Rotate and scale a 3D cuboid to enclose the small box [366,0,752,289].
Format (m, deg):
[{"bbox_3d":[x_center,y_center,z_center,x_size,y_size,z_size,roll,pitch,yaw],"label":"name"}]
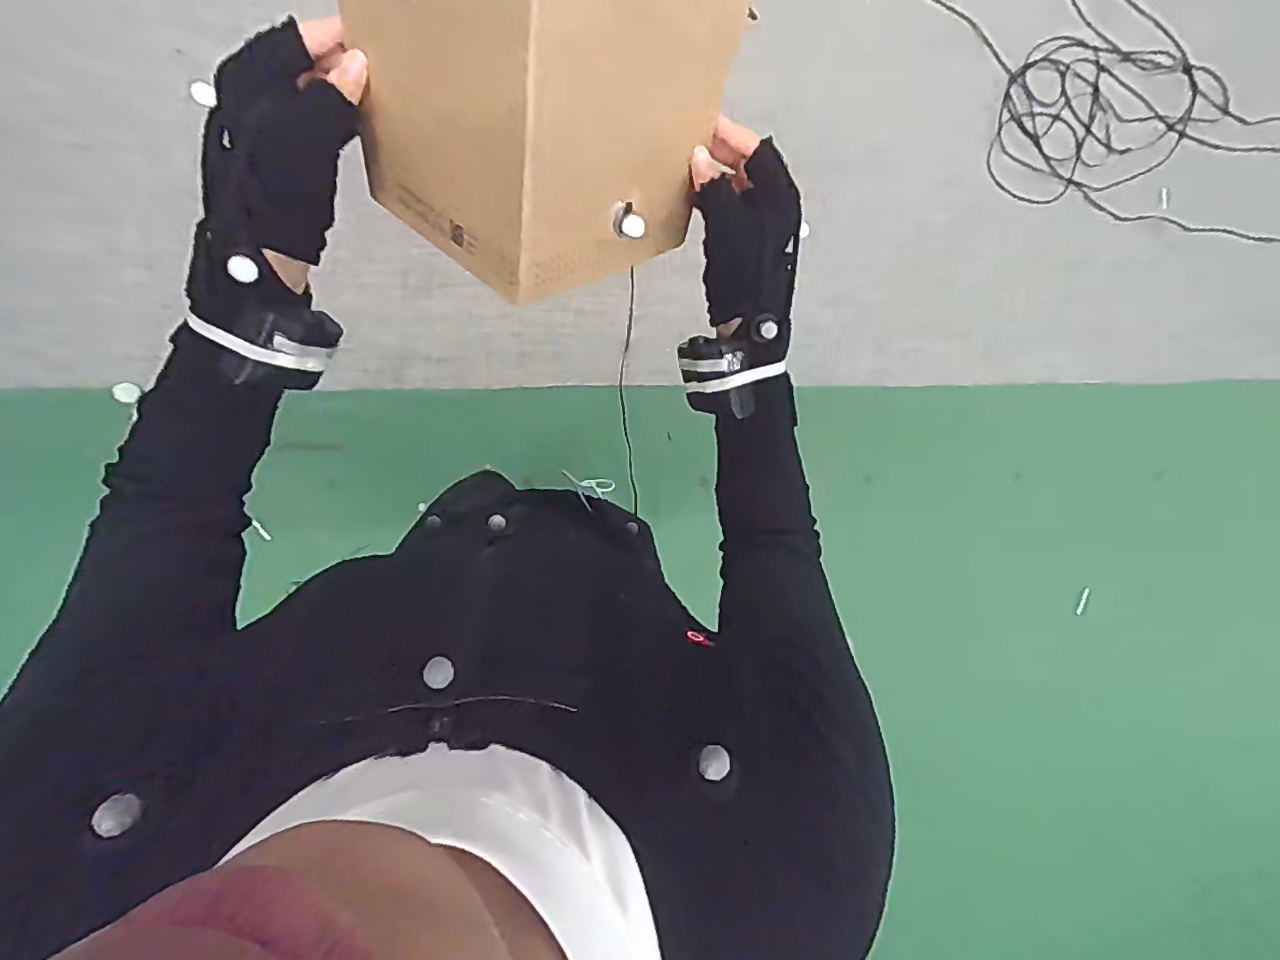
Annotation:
[{"bbox_3d":[-0.061,-0.257,0.360,0.168,0.176,0.179,40,52,19],"label":"small box"}]
